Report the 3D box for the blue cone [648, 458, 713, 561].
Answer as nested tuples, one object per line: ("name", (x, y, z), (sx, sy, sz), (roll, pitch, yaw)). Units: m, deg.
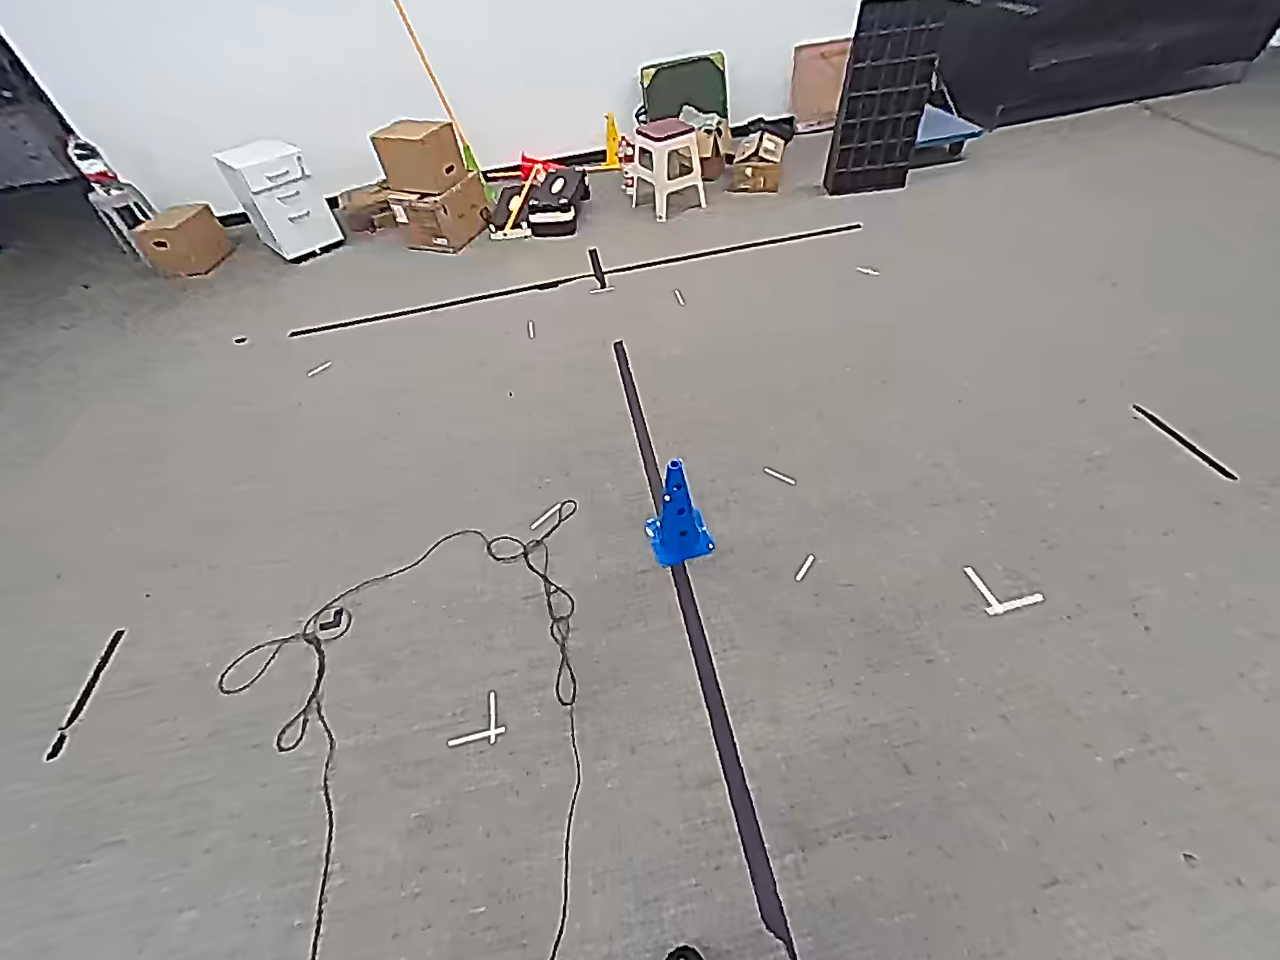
("blue cone", (0.120, 0.075, 1.712), (0.192, 0.380, 0.193), (-14, 48, -6))
